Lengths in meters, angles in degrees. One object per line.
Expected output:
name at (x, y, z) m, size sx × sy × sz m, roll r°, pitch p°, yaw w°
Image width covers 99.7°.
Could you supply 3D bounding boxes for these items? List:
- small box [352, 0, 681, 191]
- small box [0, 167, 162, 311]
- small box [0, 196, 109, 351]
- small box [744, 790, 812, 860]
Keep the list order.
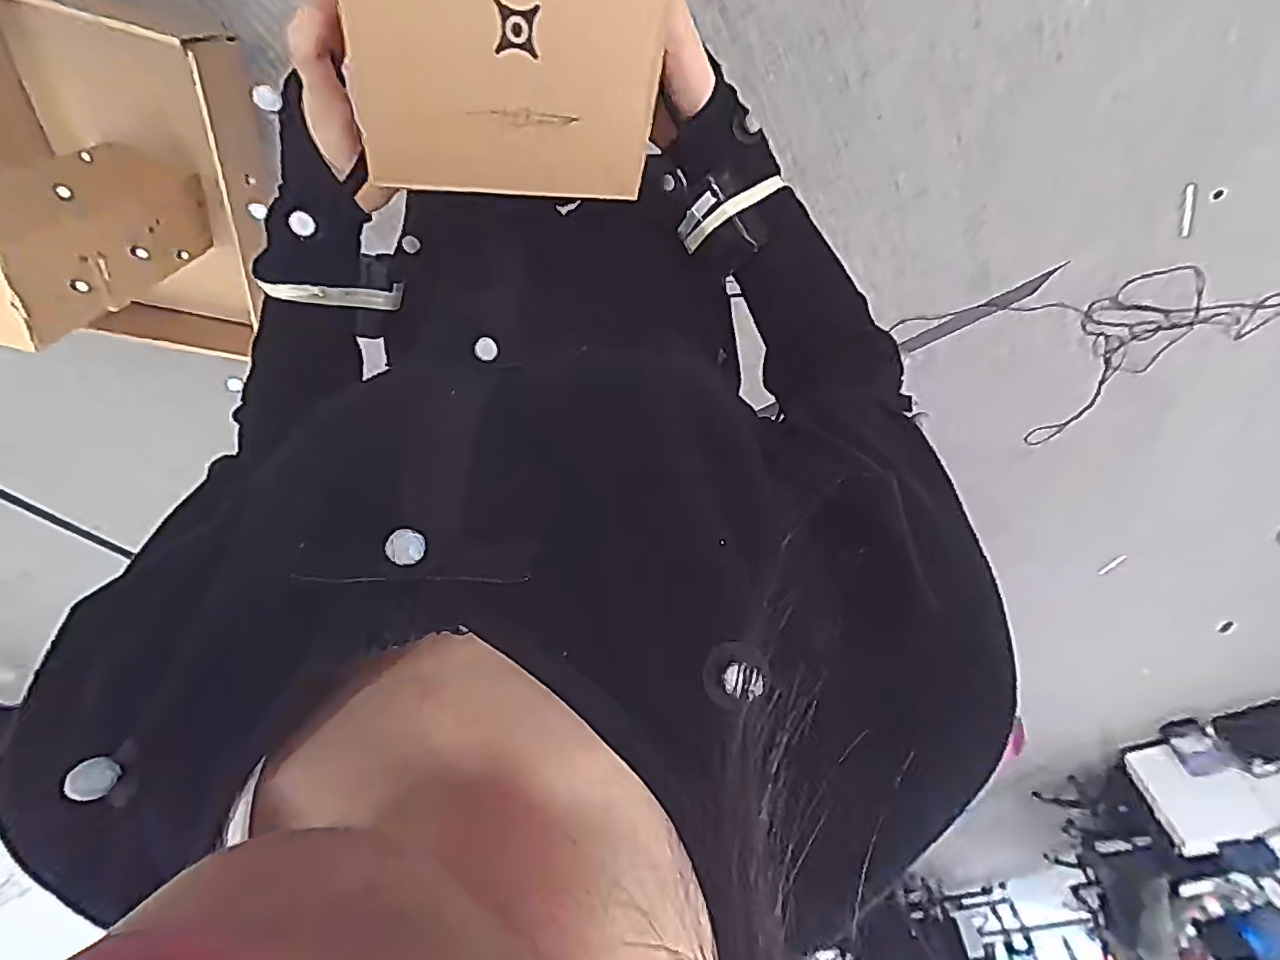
small box at (-0.082, -0.302, 0.318) m, size 0.168 × 0.176 × 0.179 m, roll -7°, pitch 144°, yaw -20°
small box at (-1.010, -0.436, 0.973) m, size 0.179 × 0.176 × 0.168 m, roll 12°, pitch 130°, yaw -15°
small box at (-1.008, -0.332, 0.847) m, size 0.179 × 0.176 × 0.168 m, roll 12°, pitch 130°, yaw -14°
small box at (0.491, 1.233, 1.935) m, size 0.168 × 0.176 × 0.179 m, roll -26°, pitch 128°, yaw 18°
